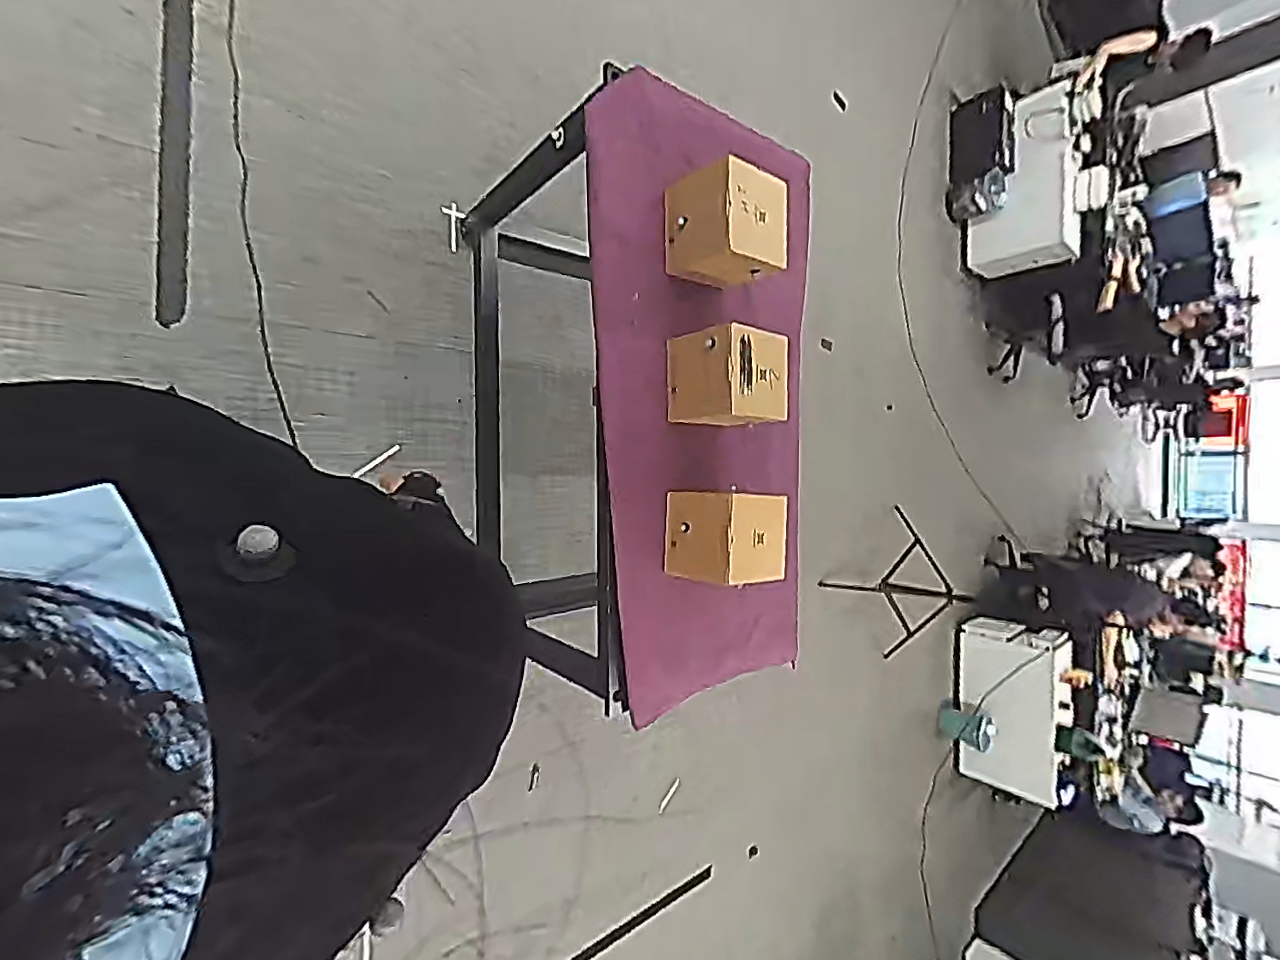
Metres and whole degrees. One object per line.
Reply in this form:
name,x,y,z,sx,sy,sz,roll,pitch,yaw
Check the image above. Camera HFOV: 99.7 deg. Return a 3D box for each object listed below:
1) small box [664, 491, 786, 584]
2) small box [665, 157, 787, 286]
small box,0.171,0.108,1.083,0.179,0.176,0.168,3,89,-41
small box,0.168,-0.494,1.066,0.179,0.176,0.168,-4,94,-40
